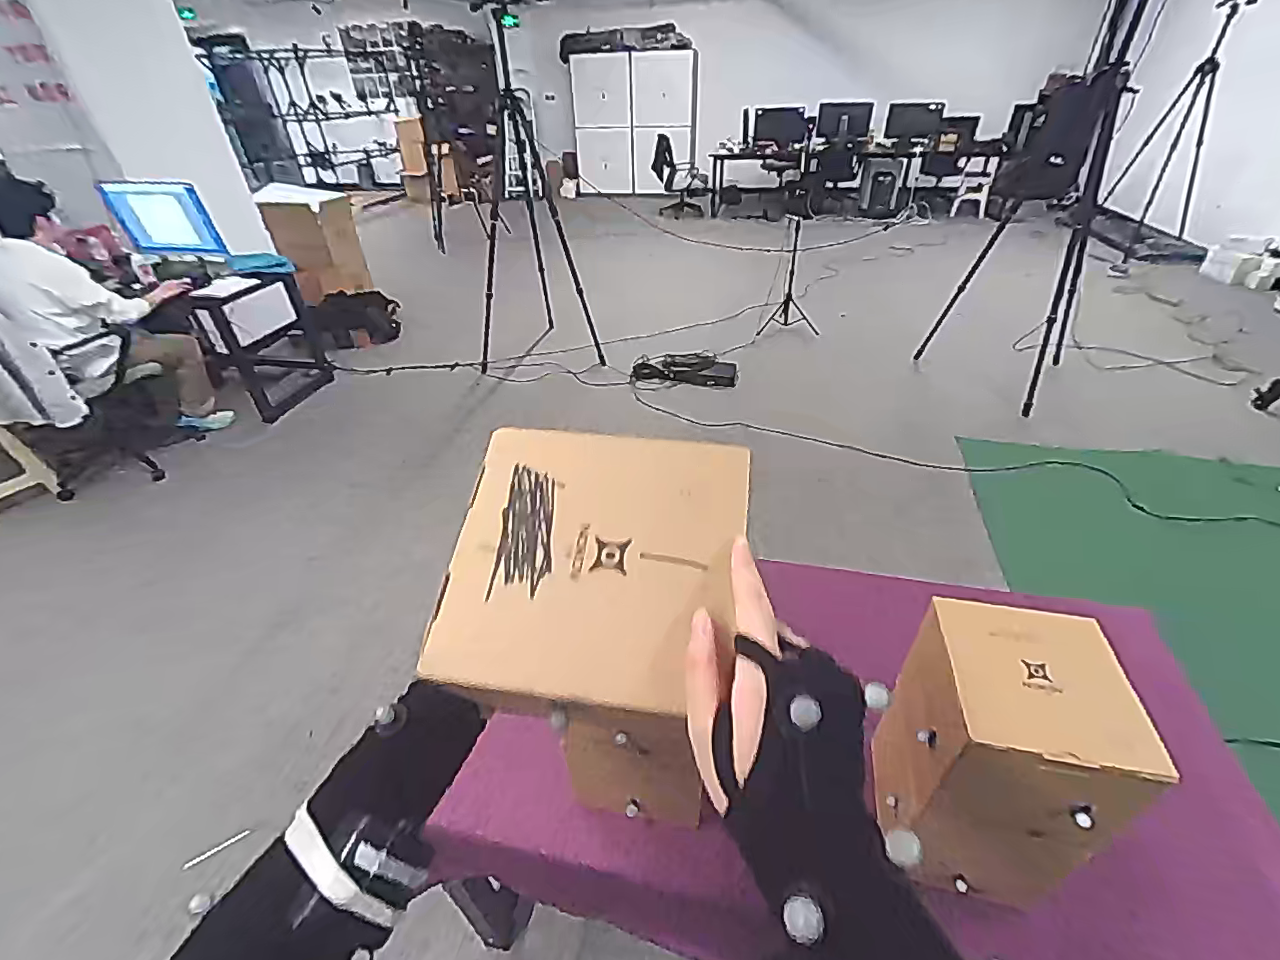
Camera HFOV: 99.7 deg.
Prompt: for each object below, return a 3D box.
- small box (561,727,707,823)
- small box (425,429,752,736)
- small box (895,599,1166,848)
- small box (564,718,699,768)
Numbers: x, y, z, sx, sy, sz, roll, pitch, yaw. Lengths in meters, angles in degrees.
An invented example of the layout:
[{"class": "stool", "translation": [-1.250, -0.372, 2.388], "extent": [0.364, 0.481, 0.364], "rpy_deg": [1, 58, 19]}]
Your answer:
[{"class": "small box", "translation": [0.003, 0.350, 0.759], "extent": [0.179, 0.176, 0.168], "rpy_deg": [6, 37, 9]}, {"class": "small box", "translation": [-0.018, 0.083, 0.396], "extent": [0.179, 0.176, 0.168], "rpy_deg": [6, 61, 7]}, {"class": "small box", "translation": [0.391, 0.261, 0.586], "extent": [0.168, 0.176, 0.179], "rpy_deg": [7, 37, 11]}, {"class": "small box", "translation": [0.000, 0.214, 0.665], "extent": [0.168, 0.176, 0.179], "rpy_deg": [6, 37, 12]}]
